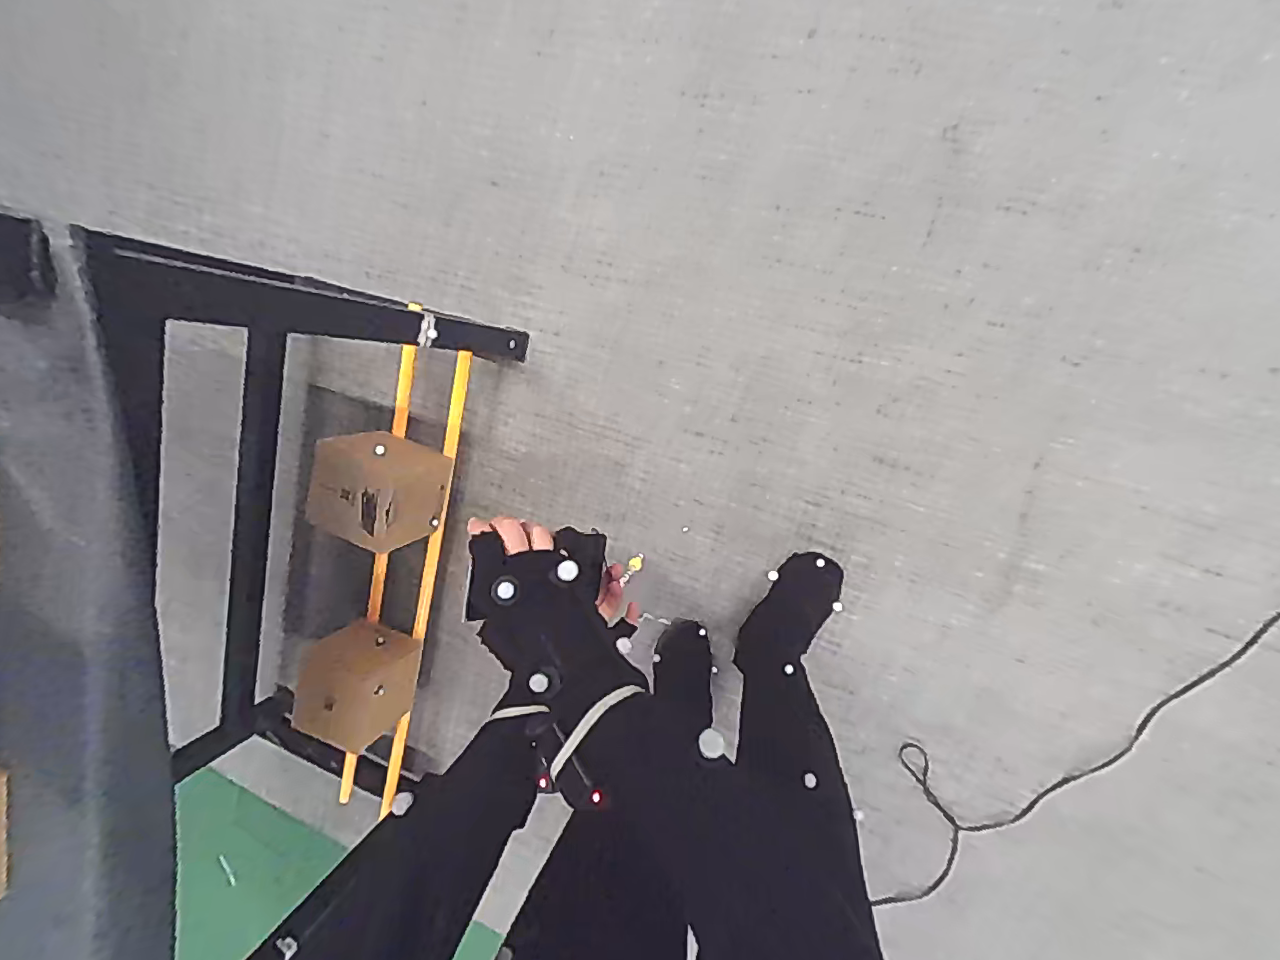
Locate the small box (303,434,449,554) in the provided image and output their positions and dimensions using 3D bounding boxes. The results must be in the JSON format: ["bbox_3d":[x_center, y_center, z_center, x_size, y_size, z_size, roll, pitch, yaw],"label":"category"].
[{"bbox_3d":[-0.496,0.016,1.035,0.179,0.176,0.168,21,104,12],"label":"small box"}]
